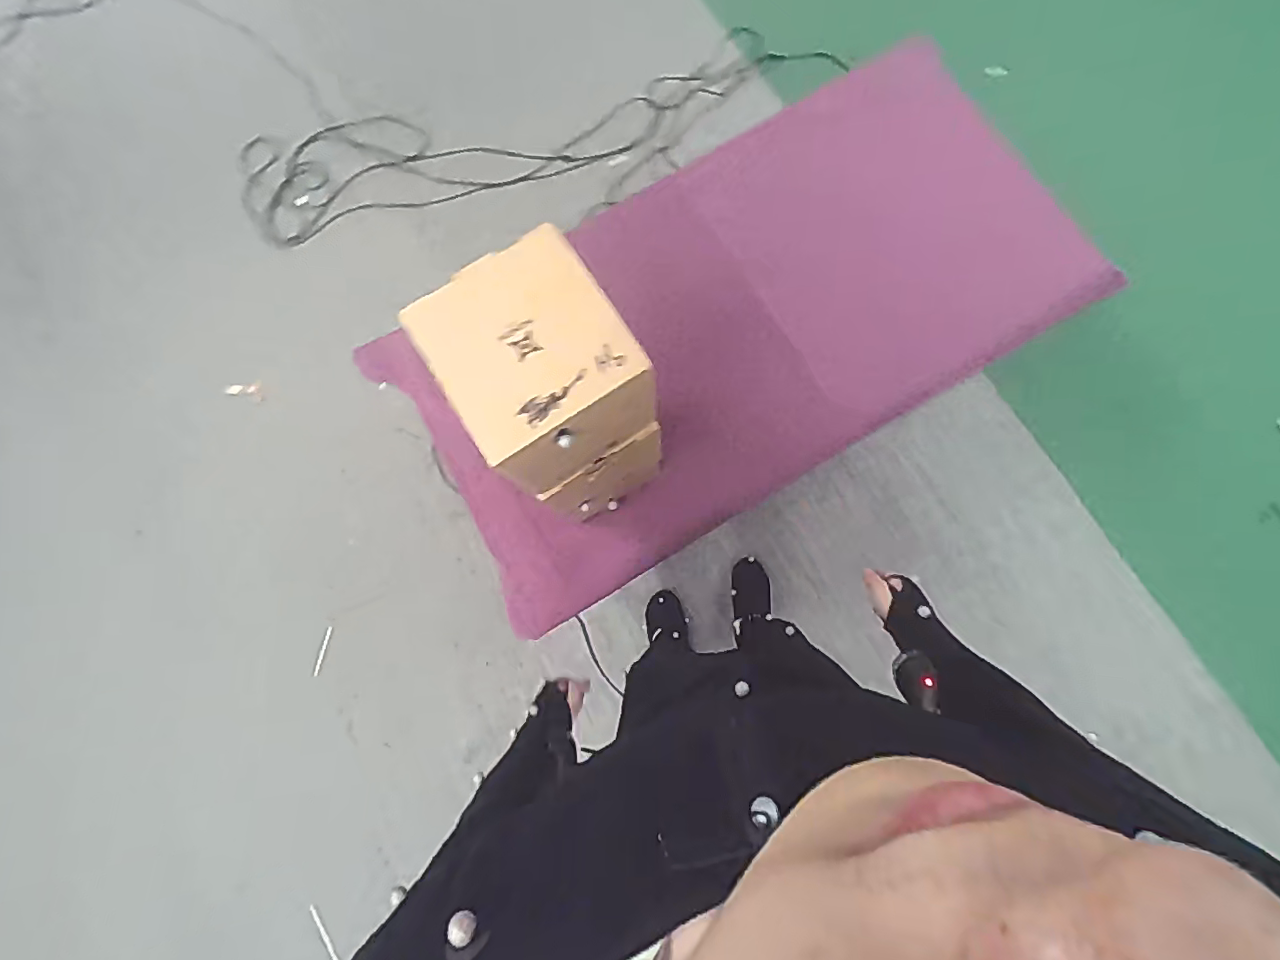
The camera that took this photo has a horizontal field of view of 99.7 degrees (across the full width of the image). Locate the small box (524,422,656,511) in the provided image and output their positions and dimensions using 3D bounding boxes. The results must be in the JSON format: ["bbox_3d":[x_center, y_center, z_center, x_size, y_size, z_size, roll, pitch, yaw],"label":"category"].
[{"bbox_3d":[-0.090,-0.071,0.716,0.168,0.176,0.179,-33,78,-3],"label":"small box"}]

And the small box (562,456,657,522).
[{"bbox_3d":[-0.085,-0.049,0.878,0.168,0.176,0.179,-33,80,-3],"label":"small box"}]

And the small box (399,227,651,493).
[{"bbox_3d":[-0.103,-0.107,0.556,0.168,0.176,0.179,-33,79,-2],"label":"small box"}]
